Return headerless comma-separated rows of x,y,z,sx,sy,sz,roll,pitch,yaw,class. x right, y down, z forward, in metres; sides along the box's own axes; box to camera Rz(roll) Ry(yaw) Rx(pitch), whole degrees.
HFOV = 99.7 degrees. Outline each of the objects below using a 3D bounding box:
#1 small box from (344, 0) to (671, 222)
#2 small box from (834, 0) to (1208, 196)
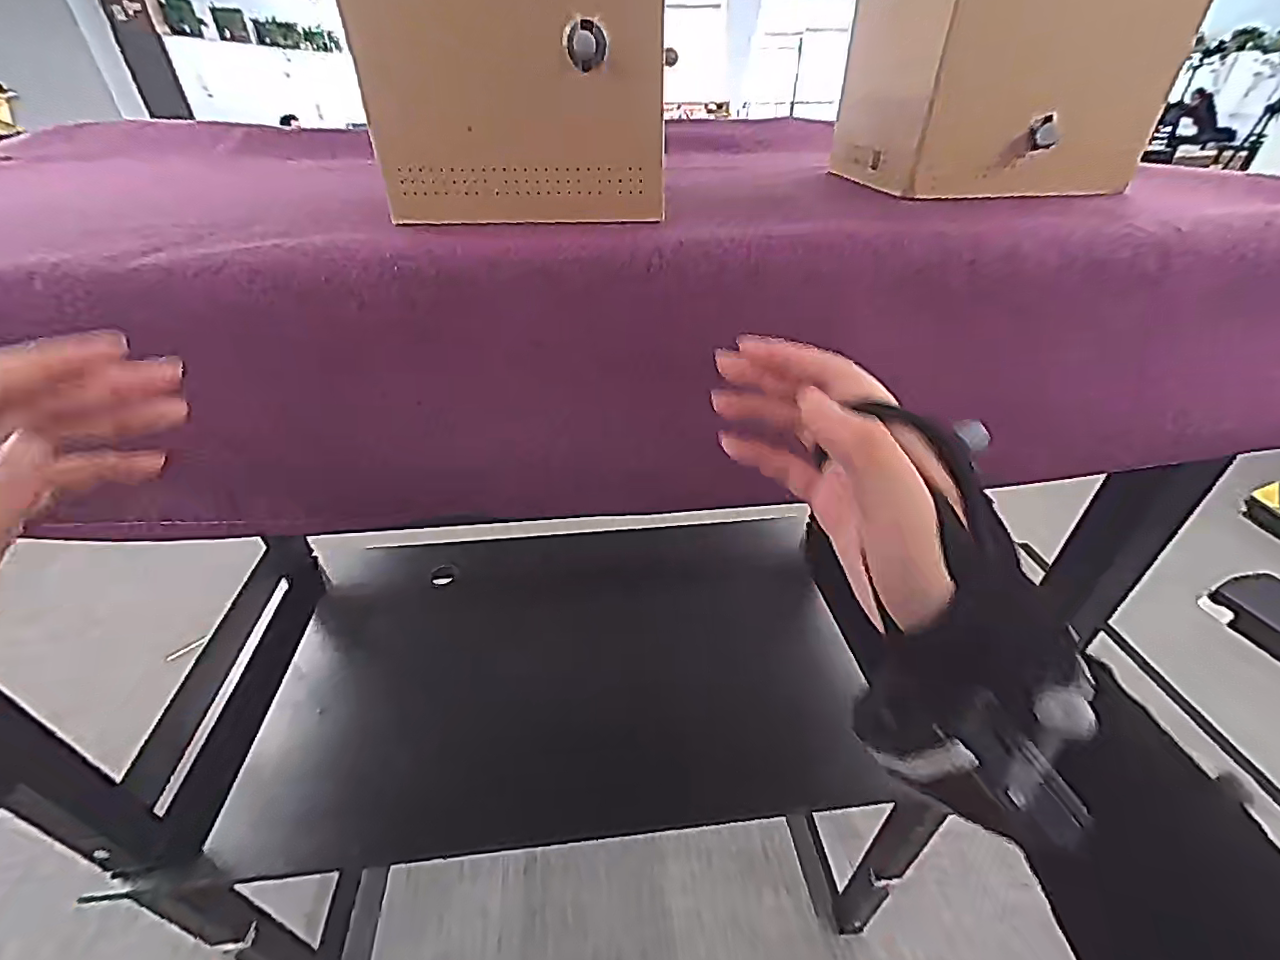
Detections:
-0.069,-0.279,0.361,0.179,0.176,0.168,-1,35,0,small box
0.277,-0.328,0.421,0.179,0.176,0.168,-3,35,-4,small box
